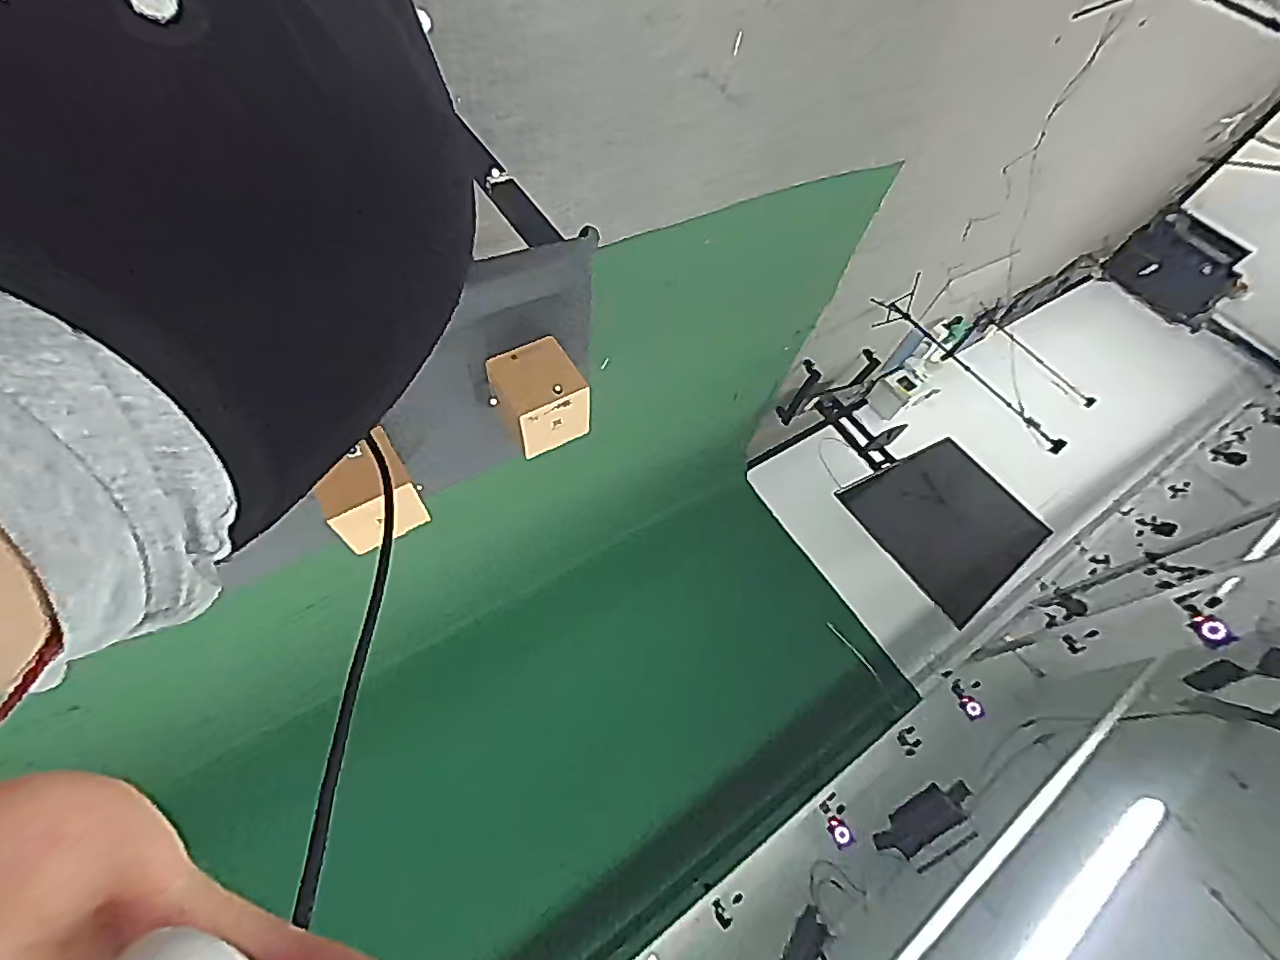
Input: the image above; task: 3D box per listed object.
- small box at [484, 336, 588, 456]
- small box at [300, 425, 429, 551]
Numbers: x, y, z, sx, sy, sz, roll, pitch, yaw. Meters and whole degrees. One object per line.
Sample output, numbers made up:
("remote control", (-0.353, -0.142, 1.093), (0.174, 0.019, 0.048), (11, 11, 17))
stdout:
("small box", (-0.234, -0.191, 1.223), (0.168, 0.176, 0.179), (-29, 159, -20))
("small box", (-0.576, 0.016, 1.142), (0.168, 0.176, 0.179), (-30, 157, -20))
